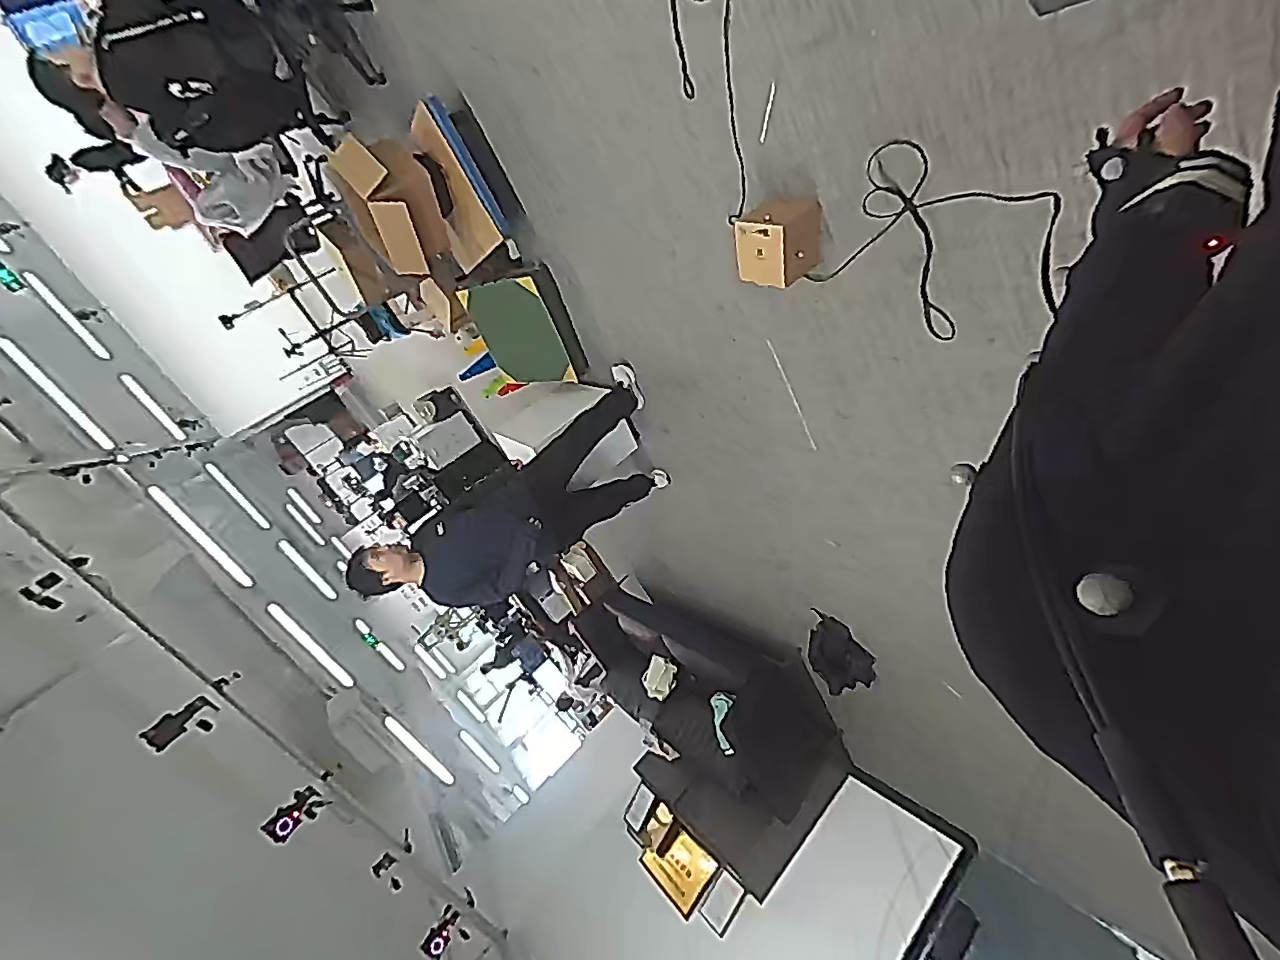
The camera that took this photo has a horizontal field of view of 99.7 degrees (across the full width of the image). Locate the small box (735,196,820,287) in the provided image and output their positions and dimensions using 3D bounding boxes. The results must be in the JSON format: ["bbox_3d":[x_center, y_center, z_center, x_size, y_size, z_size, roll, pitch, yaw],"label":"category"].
[{"bbox_3d":[0.396,-0.680,1.538,0.168,0.176,0.179,31,150,39],"label":"small box"}]
